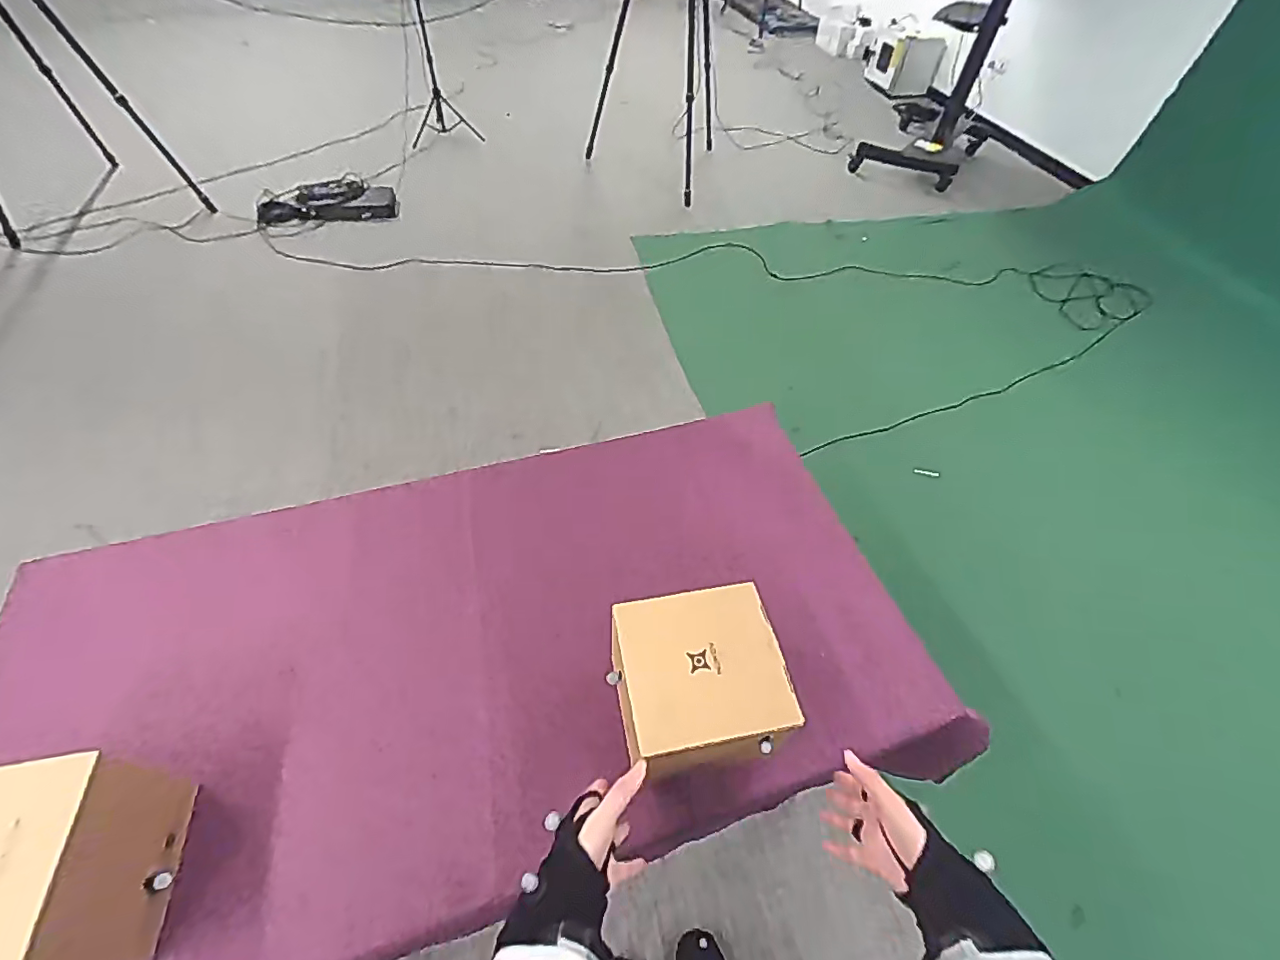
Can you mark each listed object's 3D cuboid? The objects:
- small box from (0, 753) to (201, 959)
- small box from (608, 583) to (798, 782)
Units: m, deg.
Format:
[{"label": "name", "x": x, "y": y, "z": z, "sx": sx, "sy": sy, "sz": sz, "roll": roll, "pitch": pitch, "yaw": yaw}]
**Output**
[{"label": "small box", "x": -0.576, "y": 0.378, "z": 0.508, "sx": 0.179, "sy": 0.176, "sz": 0.168, "roll": -7, "pitch": 53, "yaw": -9}, {"label": "small box", "x": 0.060, "y": 0.247, "z": 0.651, "sx": 0.179, "sy": 0.176, "sz": 0.168, "roll": -7, "pitch": 53, "yaw": -10}]
